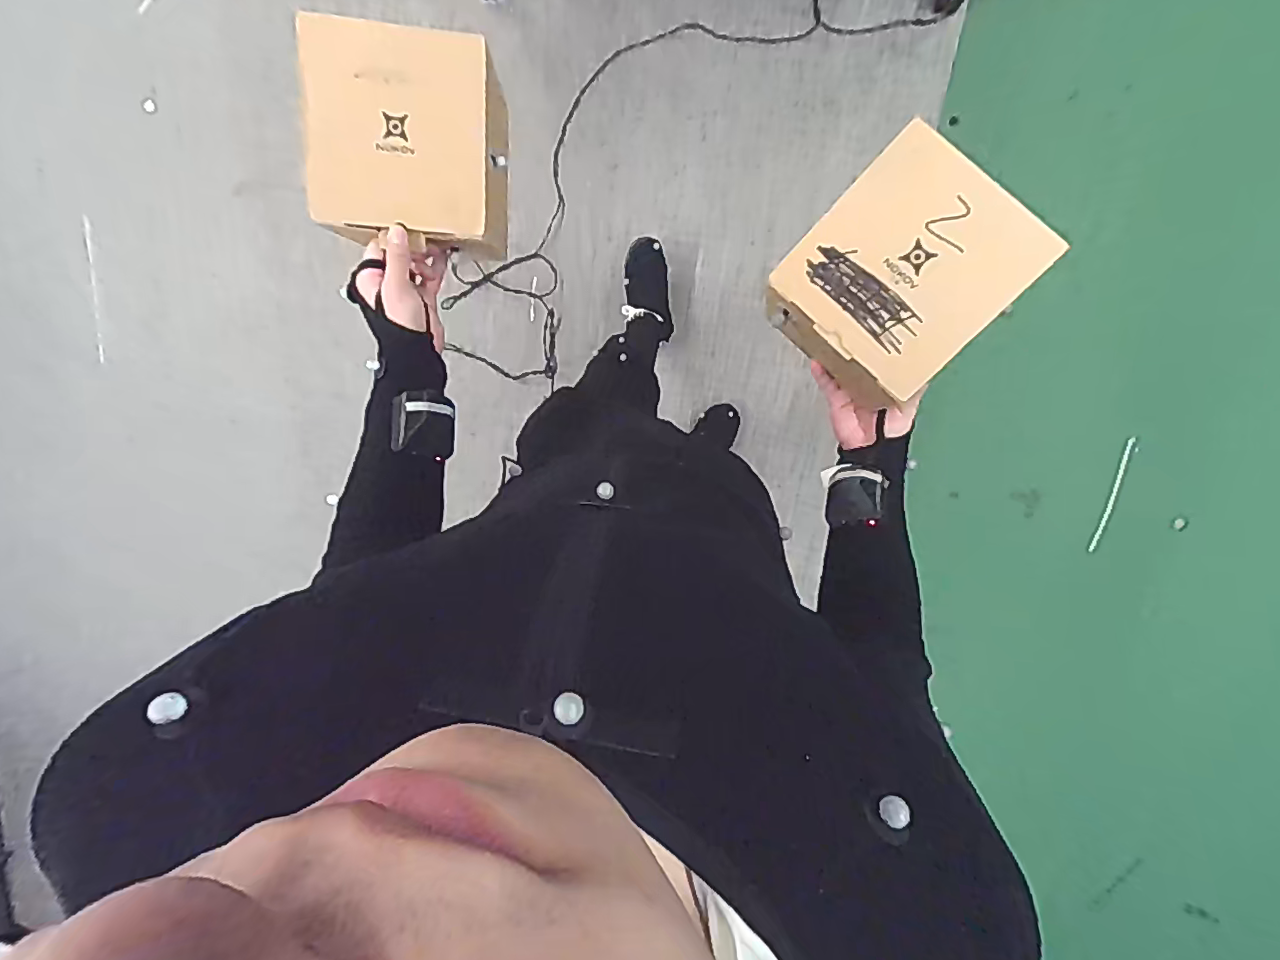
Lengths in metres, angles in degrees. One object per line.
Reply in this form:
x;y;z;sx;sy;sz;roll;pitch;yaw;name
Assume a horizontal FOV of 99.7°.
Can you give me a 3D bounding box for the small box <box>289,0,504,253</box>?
-0.241;-0.352;0.578;0.168;0.176;0.179;3;103;-7;small box
